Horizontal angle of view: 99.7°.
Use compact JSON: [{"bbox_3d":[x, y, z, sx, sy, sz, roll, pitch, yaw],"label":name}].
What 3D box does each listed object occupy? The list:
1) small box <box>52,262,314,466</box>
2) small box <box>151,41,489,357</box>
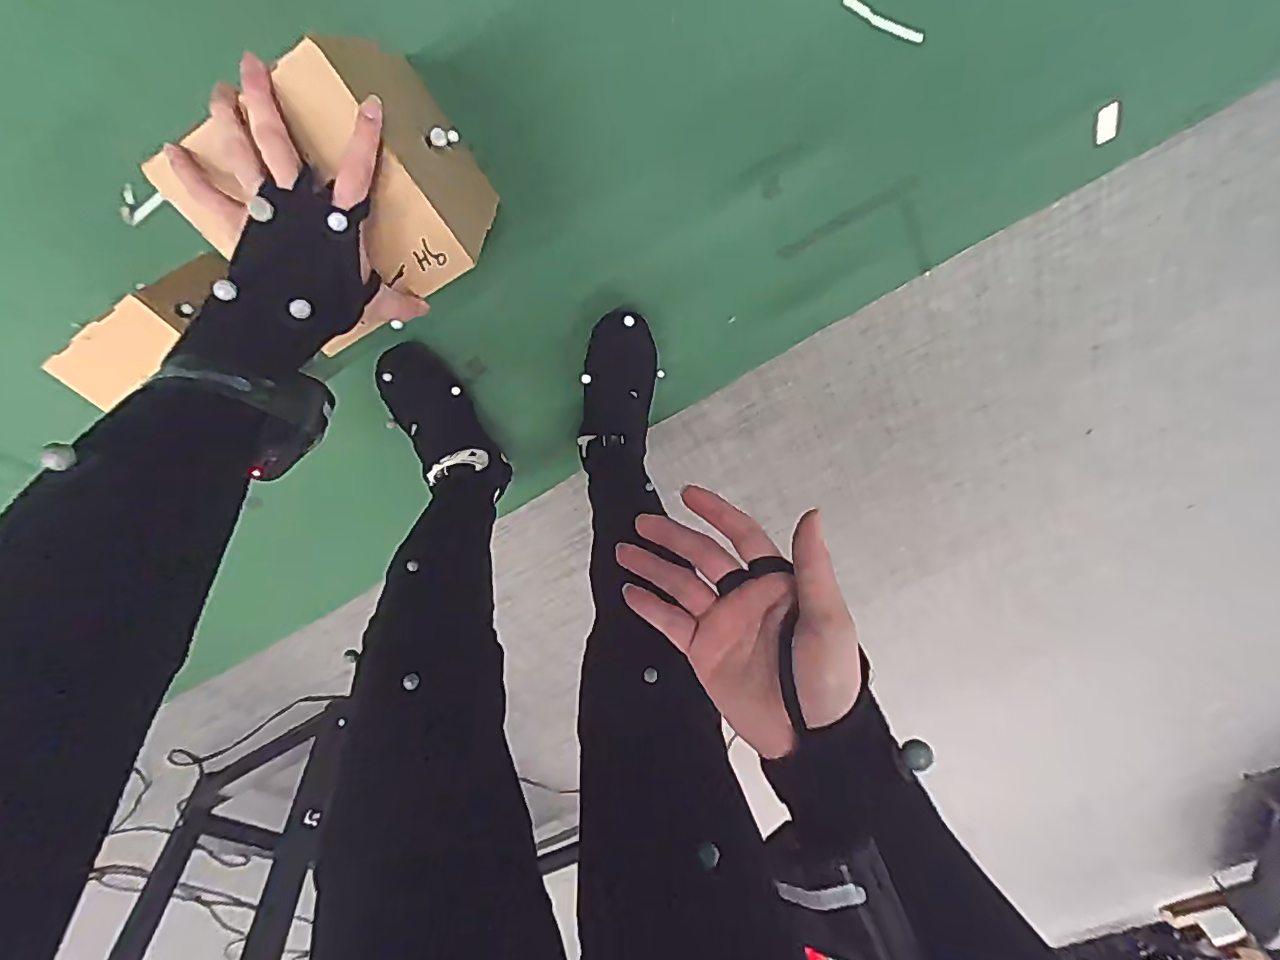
[{"bbox_3d":[-0.586,-0.158,0.726,0.168,0.176,0.179,-28,125,13],"label":"small box"},{"bbox_3d":[-0.259,-0.250,0.491,0.168,0.176,0.179,-27,127,11],"label":"small box"}]
